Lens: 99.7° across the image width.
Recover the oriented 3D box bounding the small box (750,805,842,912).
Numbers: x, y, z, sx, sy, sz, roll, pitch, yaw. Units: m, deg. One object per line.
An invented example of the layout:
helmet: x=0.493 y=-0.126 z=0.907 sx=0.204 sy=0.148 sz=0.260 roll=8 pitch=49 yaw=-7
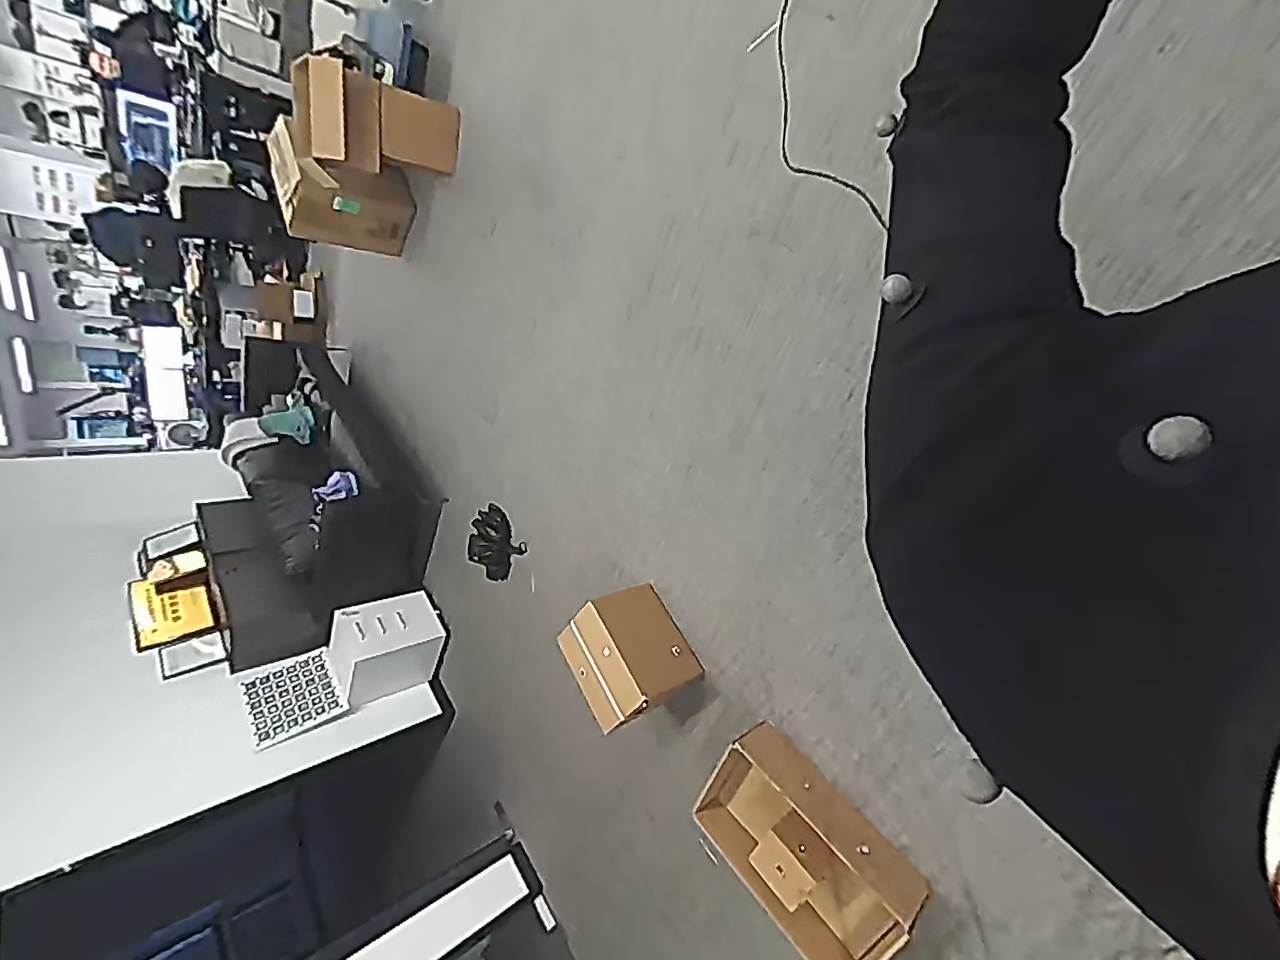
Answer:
small box: x=0.477 y=1.138 z=1.640 sx=0.179 sy=0.176 sz=0.168 roll=41 pitch=122 yaw=37
